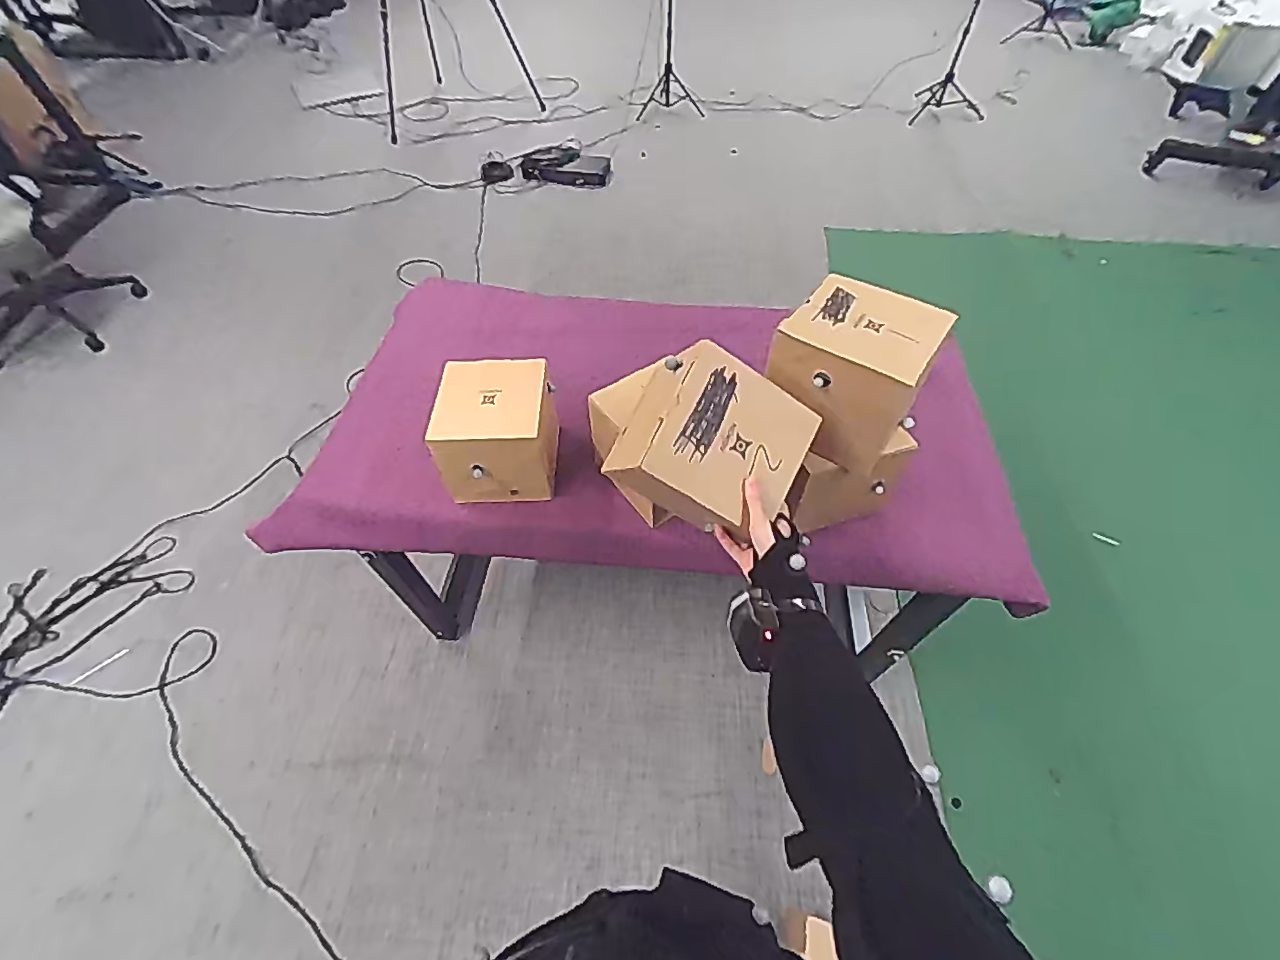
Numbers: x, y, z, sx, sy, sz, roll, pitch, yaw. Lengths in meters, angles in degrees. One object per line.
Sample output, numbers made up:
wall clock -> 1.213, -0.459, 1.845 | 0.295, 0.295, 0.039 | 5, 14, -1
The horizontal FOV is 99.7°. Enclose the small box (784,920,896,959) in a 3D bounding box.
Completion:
small box -> 0.371, 0.970, 1.033 | 0.179, 0.176, 0.168 | 12, 55, 10

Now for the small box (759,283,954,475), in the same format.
small box -> 0.284, -0.136, 0.743 | 0.179, 0.176, 0.168 | 31, 57, 22

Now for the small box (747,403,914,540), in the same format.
small box -> 0.289, -0.029, 0.867 | 0.179, 0.176, 0.168 | -14, 52, -9

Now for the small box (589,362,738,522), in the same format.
small box -> 0.035, -0.054, 0.885 | 0.168, 0.176, 0.179 | -29, 58, -21

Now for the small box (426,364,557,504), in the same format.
small box -> -0.233, -0.071, 0.901 | 0.168, 0.176, 0.179 | -2, 52, -1
